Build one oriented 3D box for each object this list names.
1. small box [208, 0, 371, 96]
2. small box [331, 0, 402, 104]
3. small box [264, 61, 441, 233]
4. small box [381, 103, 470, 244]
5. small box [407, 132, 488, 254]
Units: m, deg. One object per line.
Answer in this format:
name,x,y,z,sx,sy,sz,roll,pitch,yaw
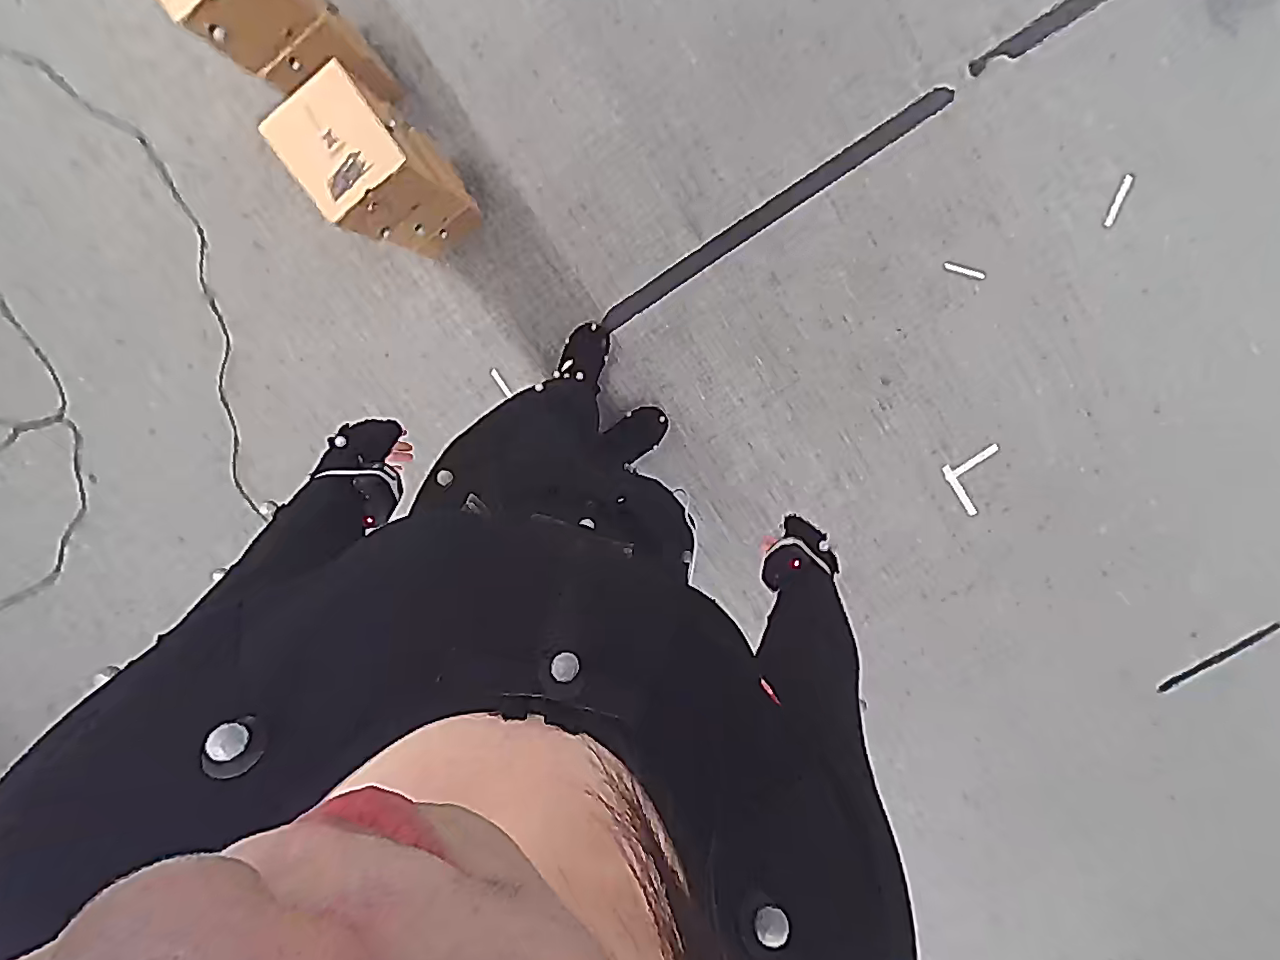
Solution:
small box,-0.658,-0.858,1.021,0.168,0.176,0.179,-35,101,9
small box,-0.660,-0.905,1.178,0.179,0.176,0.168,-35,102,8
small box,-0.479,-0.554,0.935,0.168,0.176,0.179,-34,102,8
small box,-0.475,-0.601,1.092,0.168,0.176,0.179,-35,102,9
small box,-0.481,-0.648,1.247,0.179,0.176,0.168,-31,103,7
